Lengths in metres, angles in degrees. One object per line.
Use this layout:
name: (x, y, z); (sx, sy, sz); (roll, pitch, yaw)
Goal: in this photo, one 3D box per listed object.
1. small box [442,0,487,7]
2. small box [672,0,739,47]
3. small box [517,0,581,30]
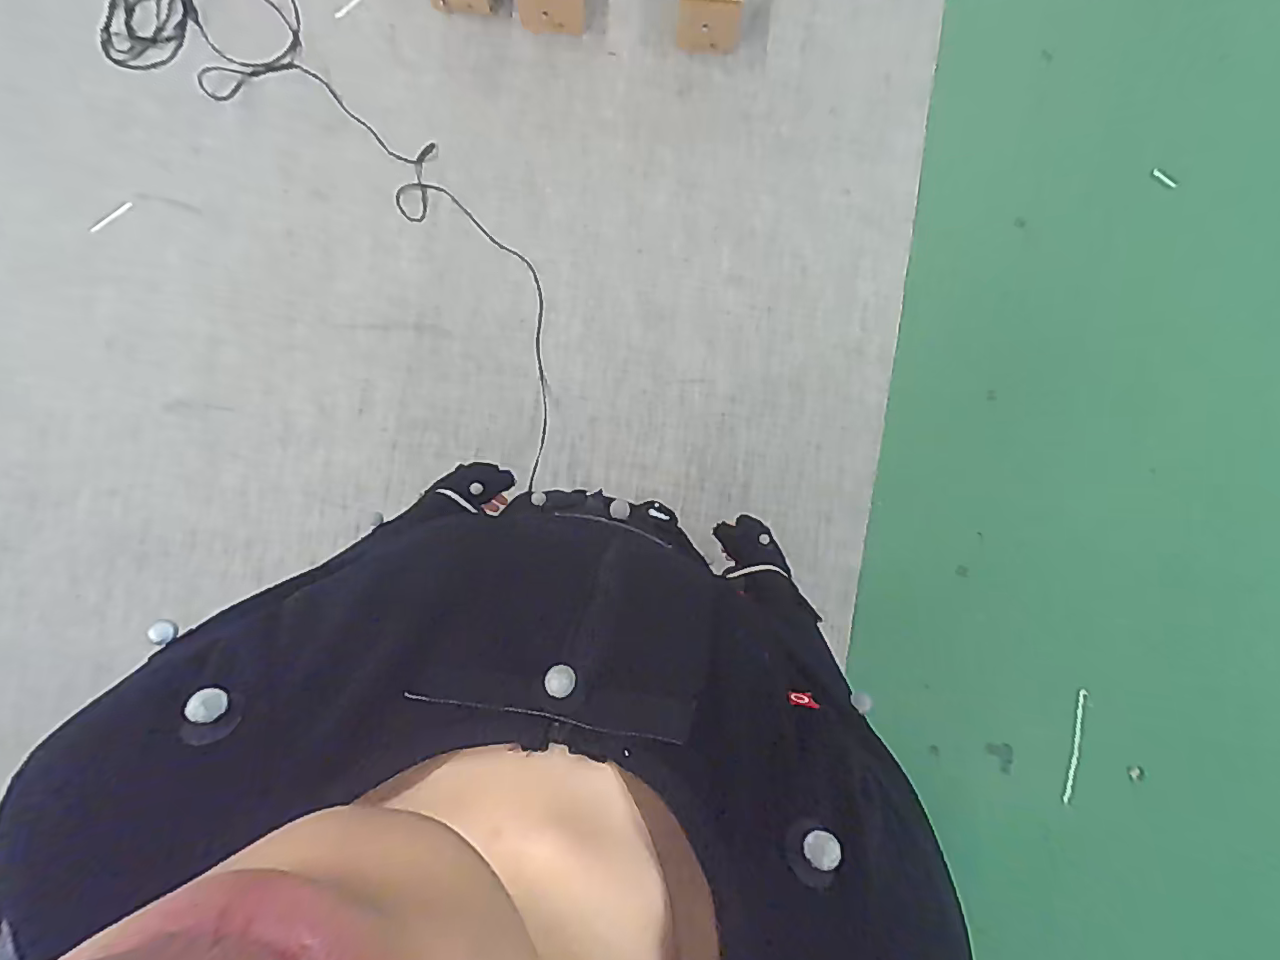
small box: (-0.495, -1.408, 1.428); (0.168, 0.176, 0.179); (6, 88, -1)
small box: (0.178, -1.301, 1.437); (0.168, 0.176, 0.179); (4, 89, -2)
small box: (-0.246, -1.353, 1.432); (0.168, 0.176, 0.179); (3, 90, 0)
